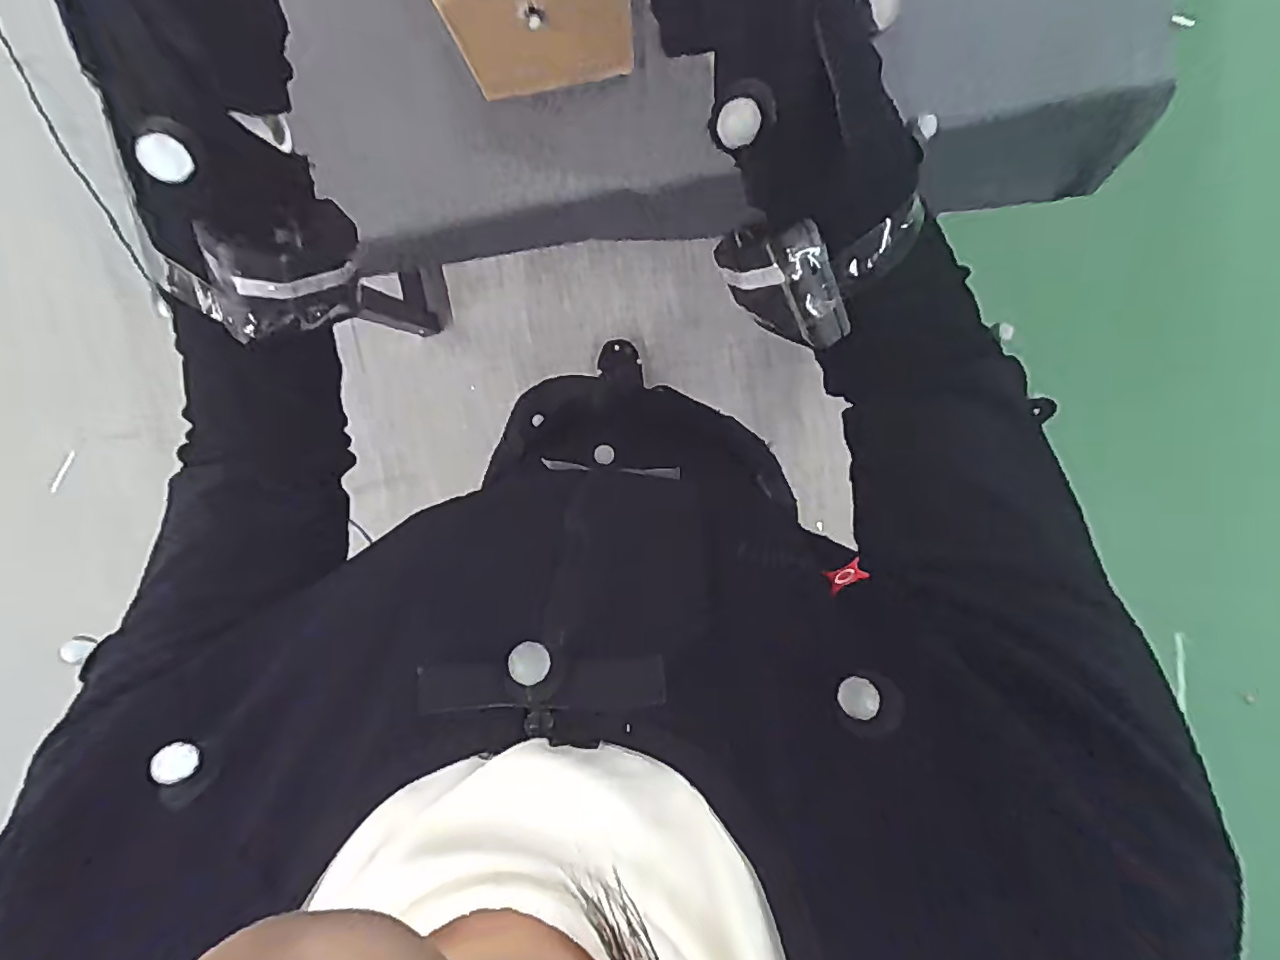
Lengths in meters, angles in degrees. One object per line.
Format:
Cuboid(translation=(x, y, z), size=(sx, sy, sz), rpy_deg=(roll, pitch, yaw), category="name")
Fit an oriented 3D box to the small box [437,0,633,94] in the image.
Cuboid(translation=(-0.106, -0.522, 0.535), size=(0.179, 0.176, 0.168), rpy_deg=(-9, 99, 2), category="small box")
